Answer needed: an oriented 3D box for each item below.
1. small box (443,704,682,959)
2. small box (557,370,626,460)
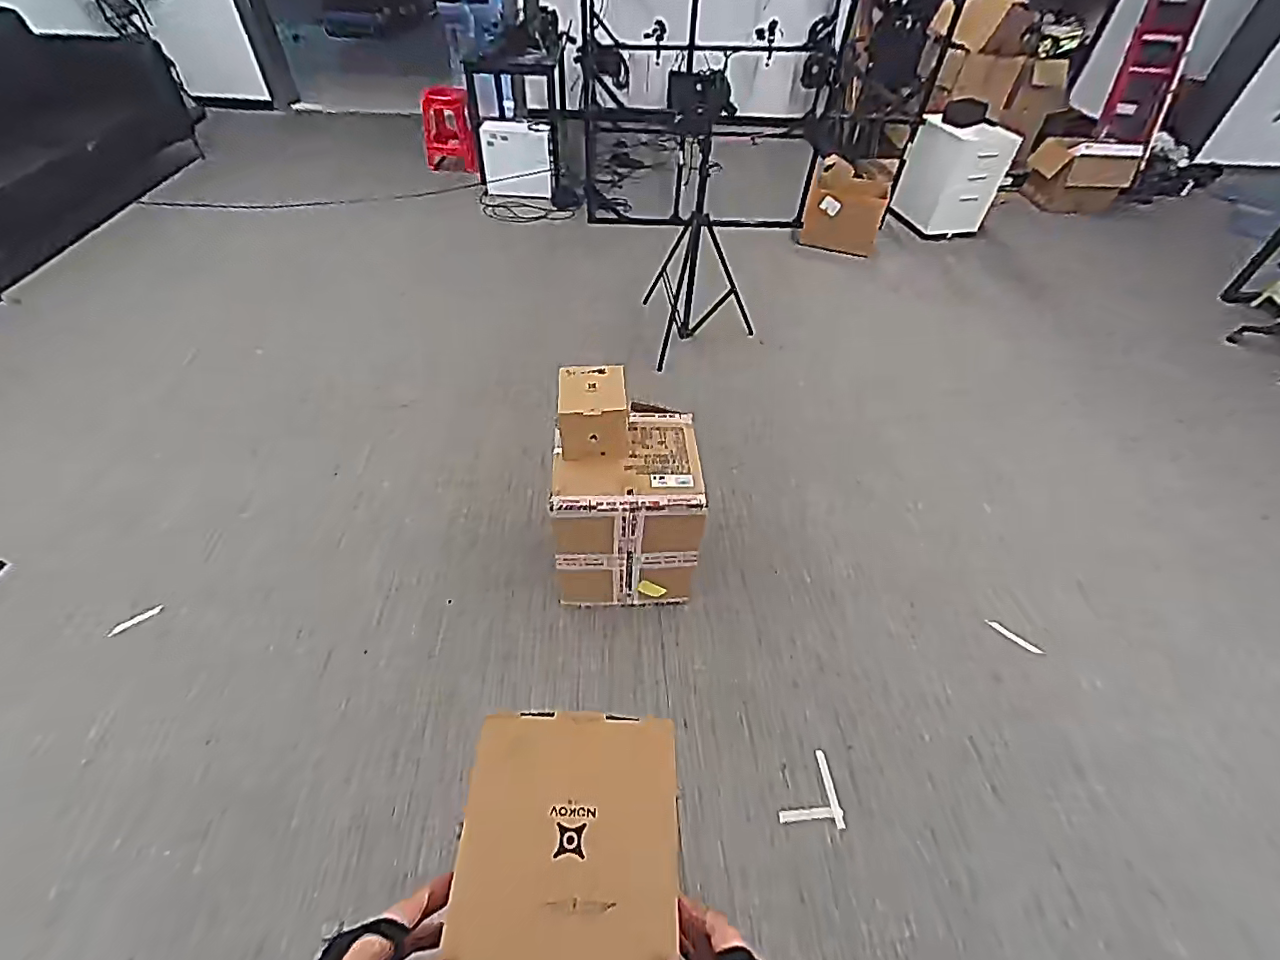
[{"bbox_3d":[-0.057,0.318,0.478,0.168,0.176,0.179,4,50,-3],"label":"small box"},{"bbox_3d":[-0.121,-0.163,1.400,0.168,0.176,0.179,-2,51,-4],"label":"small box"}]
